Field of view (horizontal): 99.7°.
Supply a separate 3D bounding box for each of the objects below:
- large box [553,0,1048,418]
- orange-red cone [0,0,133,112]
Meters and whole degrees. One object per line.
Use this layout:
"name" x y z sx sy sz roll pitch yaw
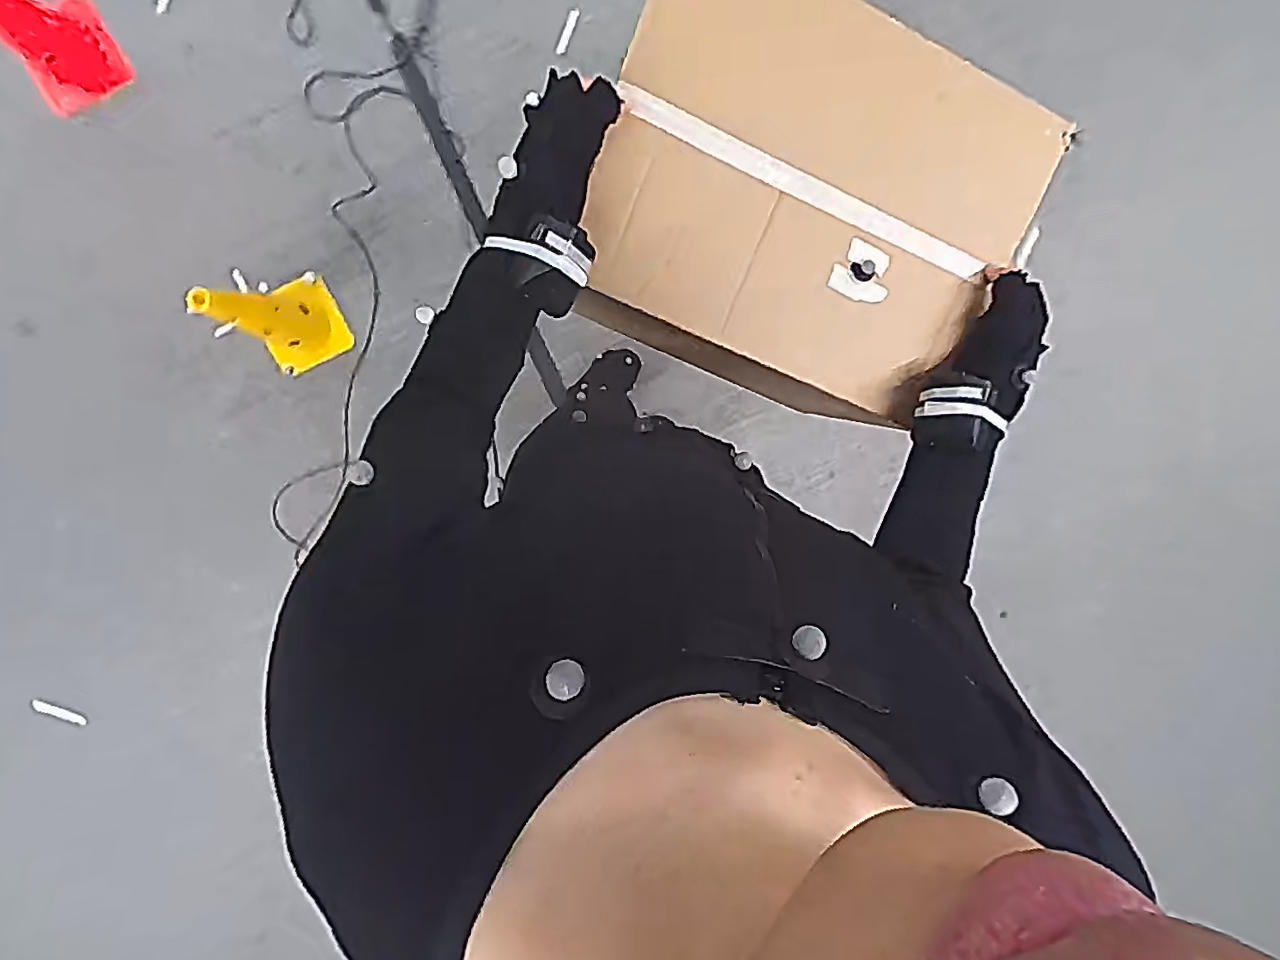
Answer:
"large box" 0.136 -0.291 0.646 0.408 0.320 0.320 20 98 -10
"orange-red cone" -1.290 -0.953 1.081 0.198 0.360 0.199 -27 100 1
